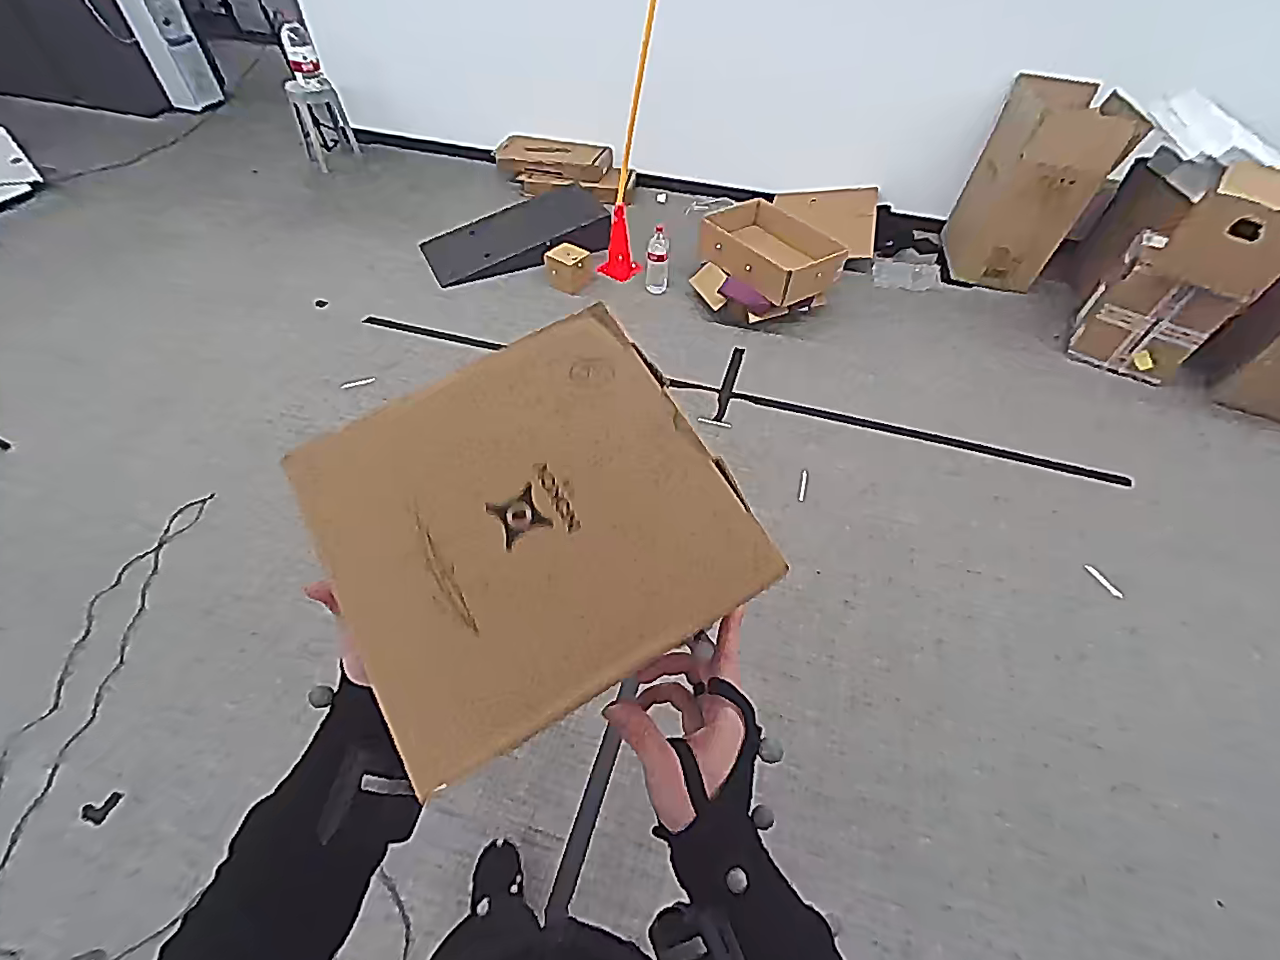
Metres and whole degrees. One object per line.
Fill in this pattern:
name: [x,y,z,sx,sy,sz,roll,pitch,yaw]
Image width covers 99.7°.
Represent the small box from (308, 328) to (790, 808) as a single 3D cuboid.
small box: [-0.046,0.050,0.328,0.179,0.176,0.168,-31,74,-10]
